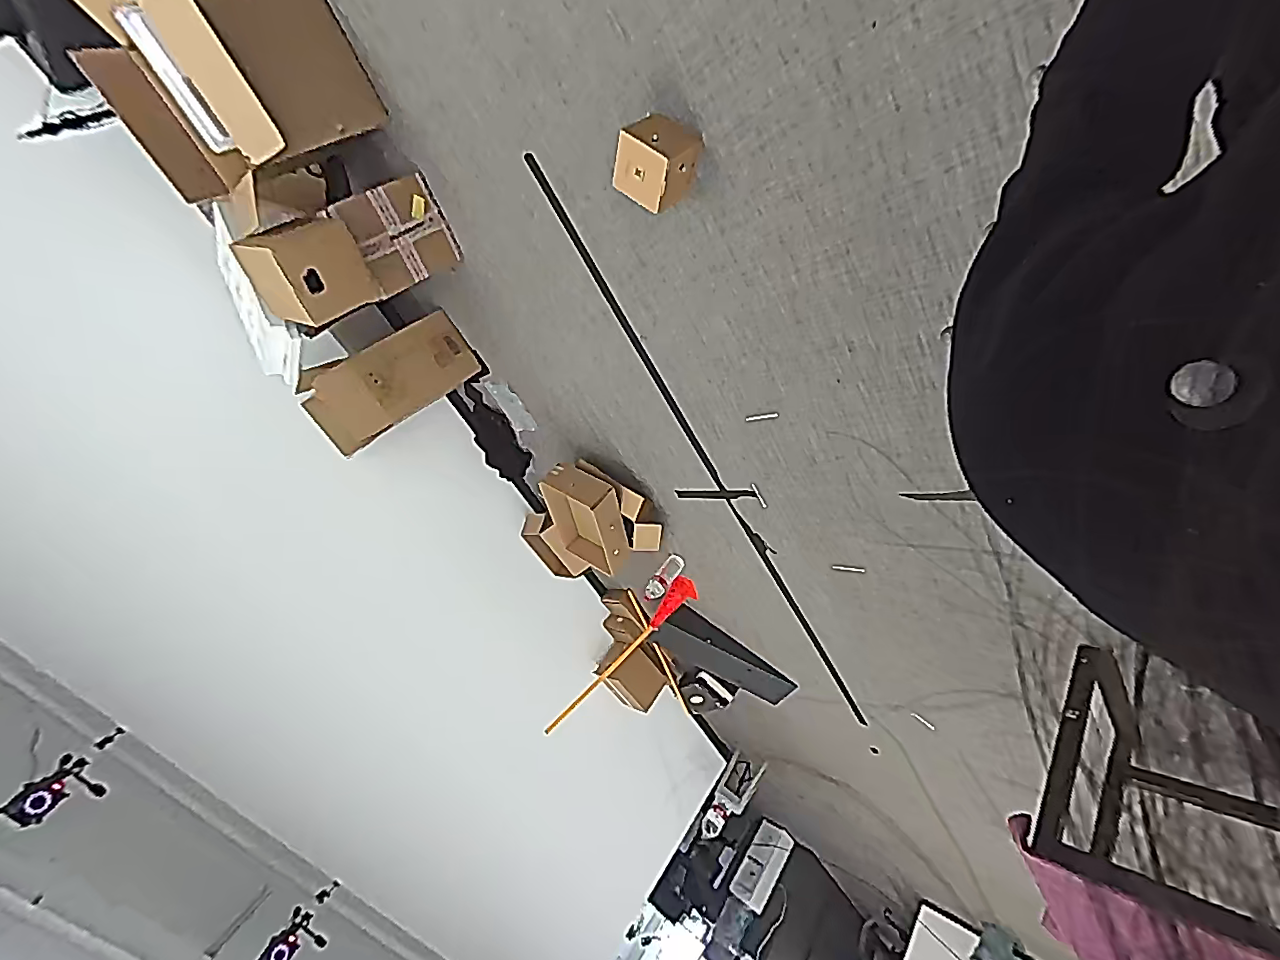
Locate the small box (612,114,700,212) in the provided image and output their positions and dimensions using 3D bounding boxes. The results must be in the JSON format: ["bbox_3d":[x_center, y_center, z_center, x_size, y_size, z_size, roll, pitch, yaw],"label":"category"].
[{"bbox_3d":[0.048,-0.924,1.566,0.179,0.176,0.168,39,149,12],"label":"small box"}]
